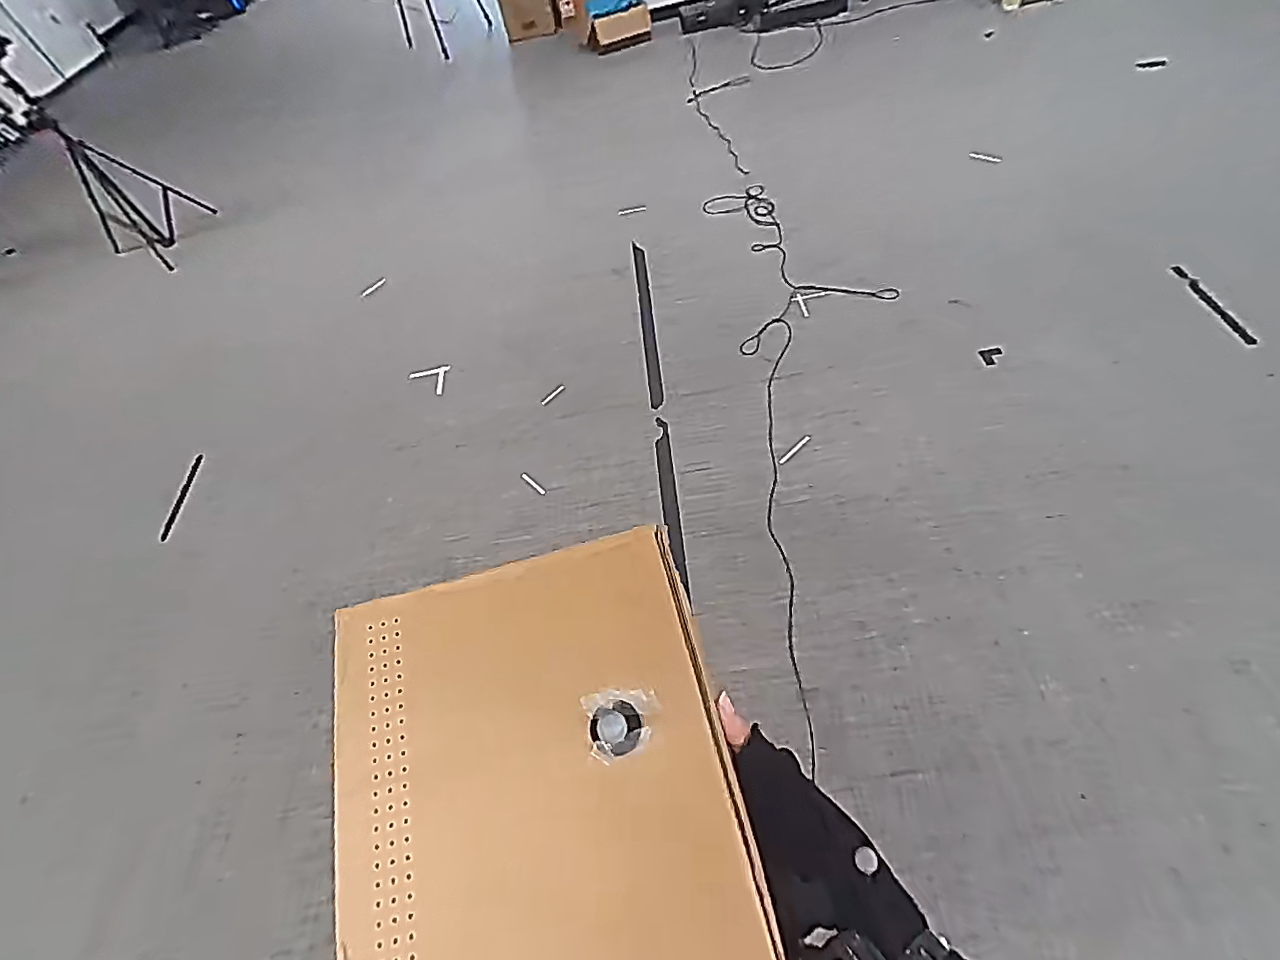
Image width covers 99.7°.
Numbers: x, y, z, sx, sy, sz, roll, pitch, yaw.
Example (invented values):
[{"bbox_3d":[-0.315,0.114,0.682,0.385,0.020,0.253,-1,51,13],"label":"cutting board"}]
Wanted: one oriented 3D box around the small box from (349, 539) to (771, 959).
[{"bbox_3d":[-0.041,0.158,0.308,0.176,0.168,0.179,-15,65,2],"label":"small box"}]
